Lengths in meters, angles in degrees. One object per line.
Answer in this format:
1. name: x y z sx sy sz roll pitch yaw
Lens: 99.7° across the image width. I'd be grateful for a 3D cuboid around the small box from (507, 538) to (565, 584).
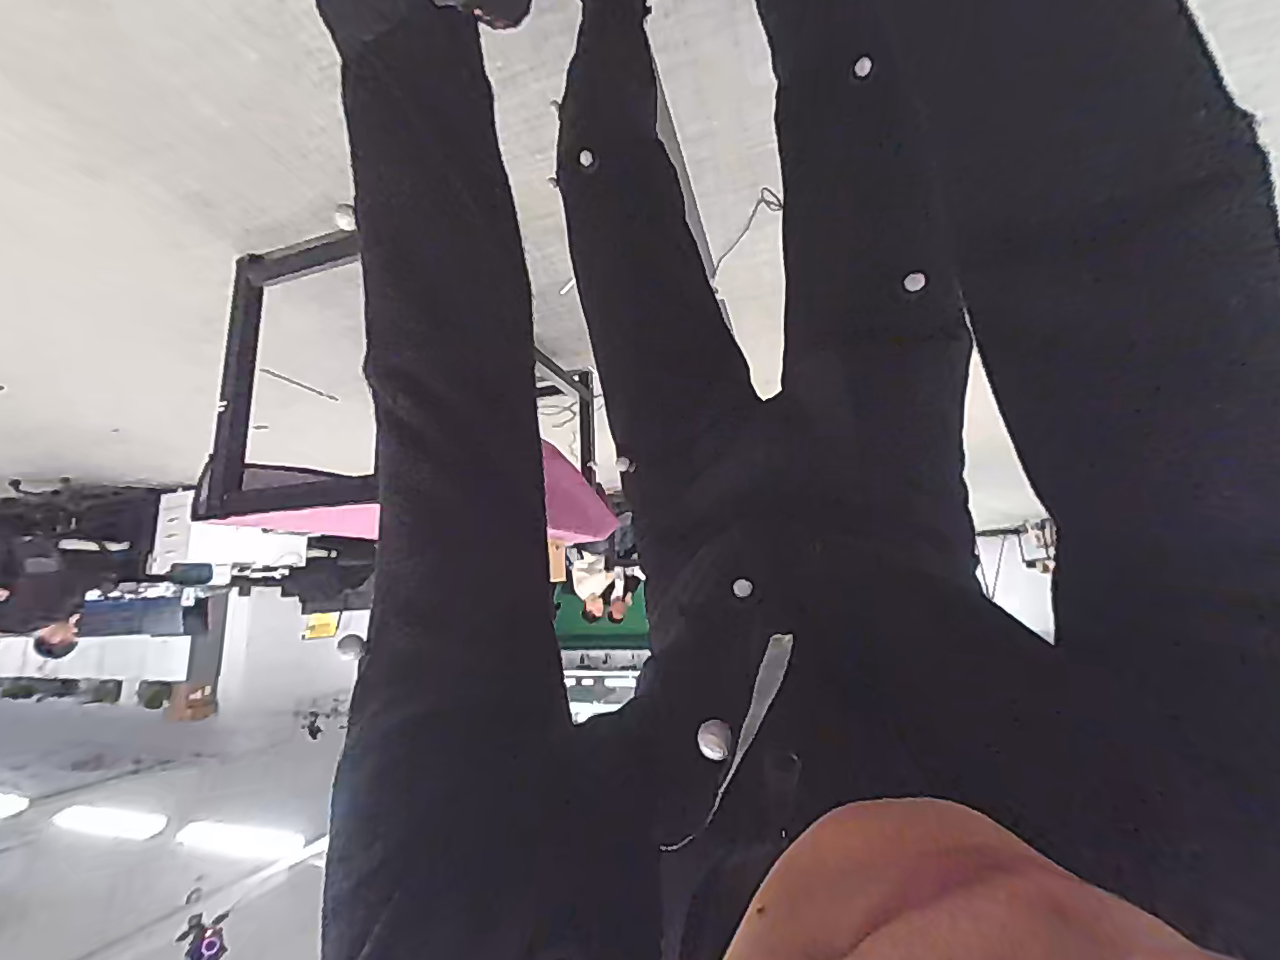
1. small box: -0.412 0.329 2.165 0.179 0.176 0.168 -7 168 20
